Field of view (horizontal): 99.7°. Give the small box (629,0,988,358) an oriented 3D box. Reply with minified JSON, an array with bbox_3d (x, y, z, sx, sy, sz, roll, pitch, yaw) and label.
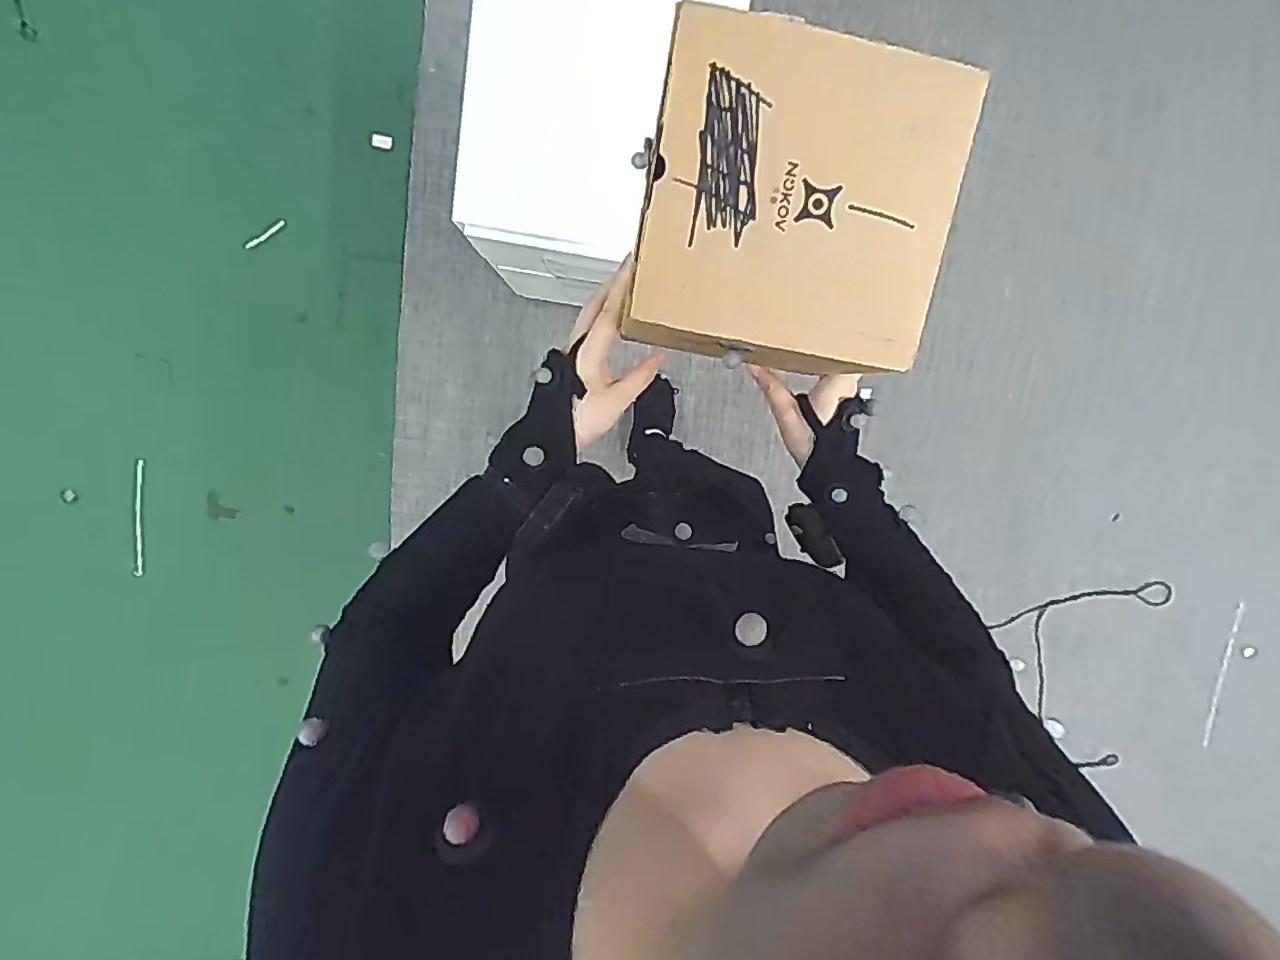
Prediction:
[{"bbox_3d":[0.091,-0.184,0.385,0.179,0.176,0.168,10,101,-5],"label":"small box"}]
